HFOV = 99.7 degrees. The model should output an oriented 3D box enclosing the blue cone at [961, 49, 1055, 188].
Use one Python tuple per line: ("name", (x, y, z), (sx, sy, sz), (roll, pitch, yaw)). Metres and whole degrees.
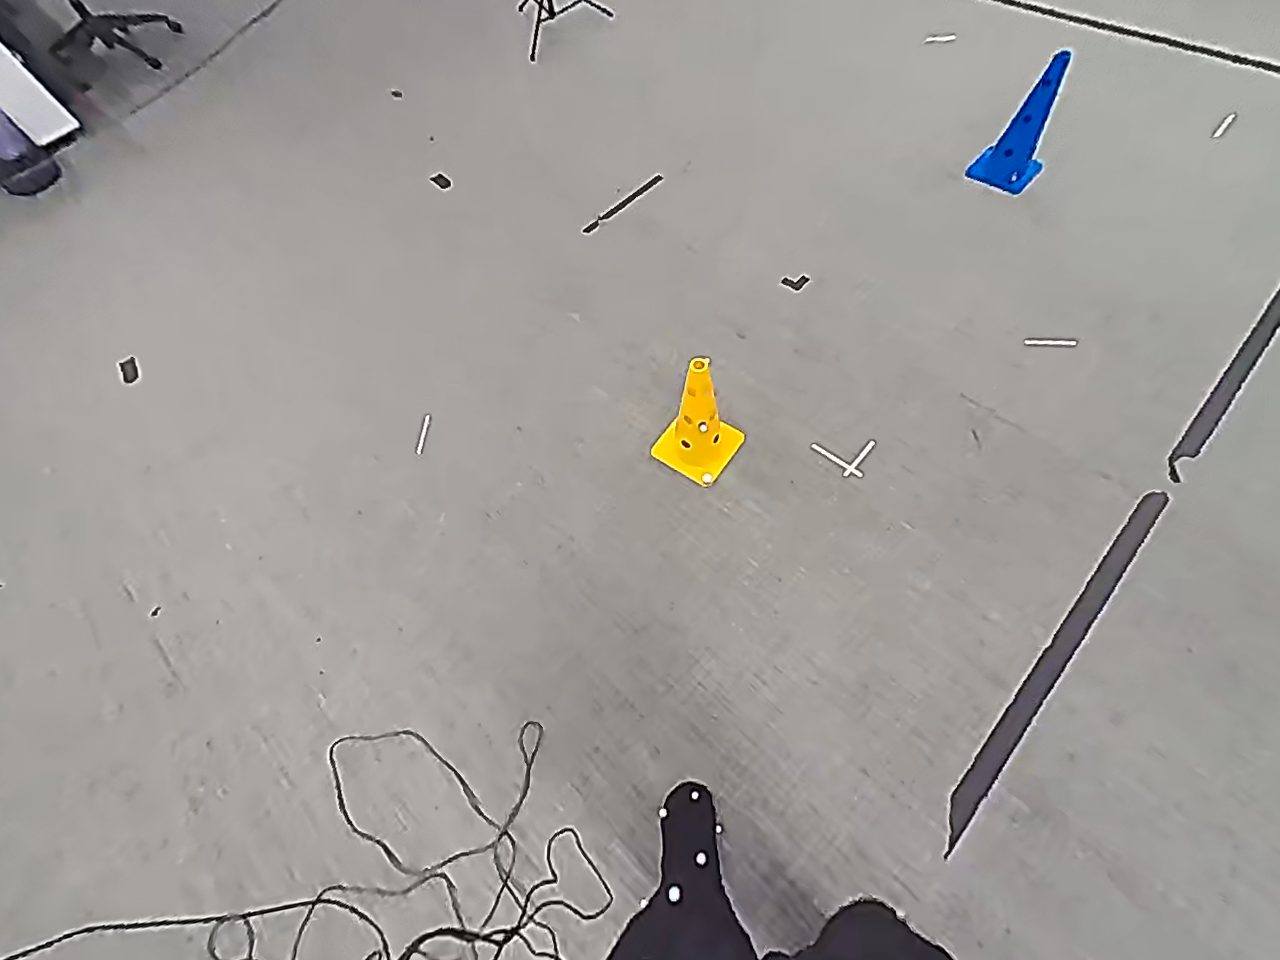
("blue cone", (1.241, -1.178, 1.764), (0.192, 0.380, 0.193), (39, 73, 23))
